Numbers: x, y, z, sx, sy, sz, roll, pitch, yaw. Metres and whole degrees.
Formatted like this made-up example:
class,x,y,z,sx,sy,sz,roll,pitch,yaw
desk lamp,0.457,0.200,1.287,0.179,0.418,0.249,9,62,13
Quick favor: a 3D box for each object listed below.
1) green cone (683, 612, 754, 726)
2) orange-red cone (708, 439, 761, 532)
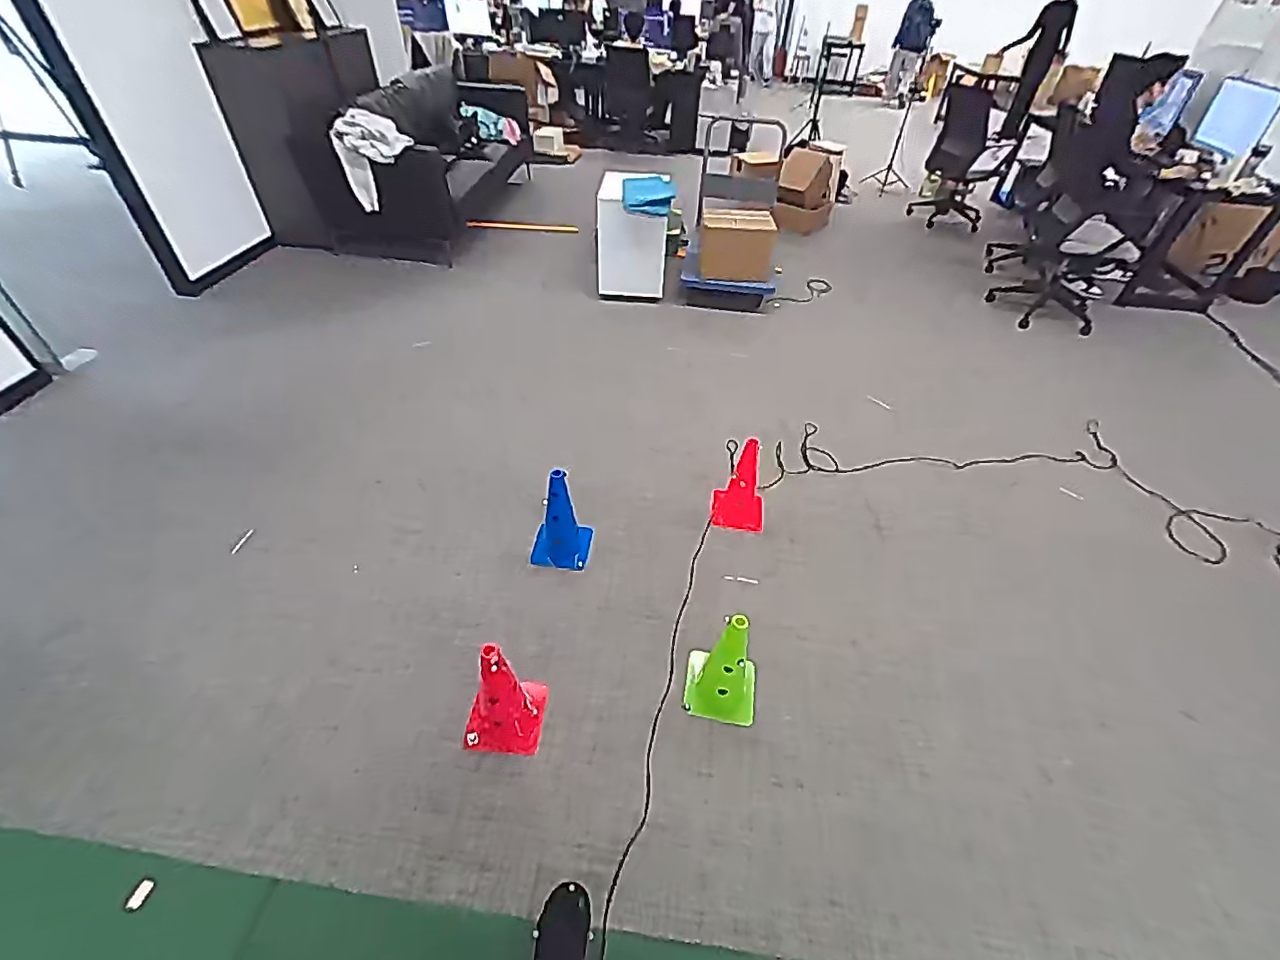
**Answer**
class,x,y,z,sx,sy,sz,roll,pitch,yaw
green cone,0.242,0.483,1.467,0.200,0.368,0.202,9,42,5
orange-red cone,0.375,-0.001,1.999,0.198,0.360,0.199,9,45,8
